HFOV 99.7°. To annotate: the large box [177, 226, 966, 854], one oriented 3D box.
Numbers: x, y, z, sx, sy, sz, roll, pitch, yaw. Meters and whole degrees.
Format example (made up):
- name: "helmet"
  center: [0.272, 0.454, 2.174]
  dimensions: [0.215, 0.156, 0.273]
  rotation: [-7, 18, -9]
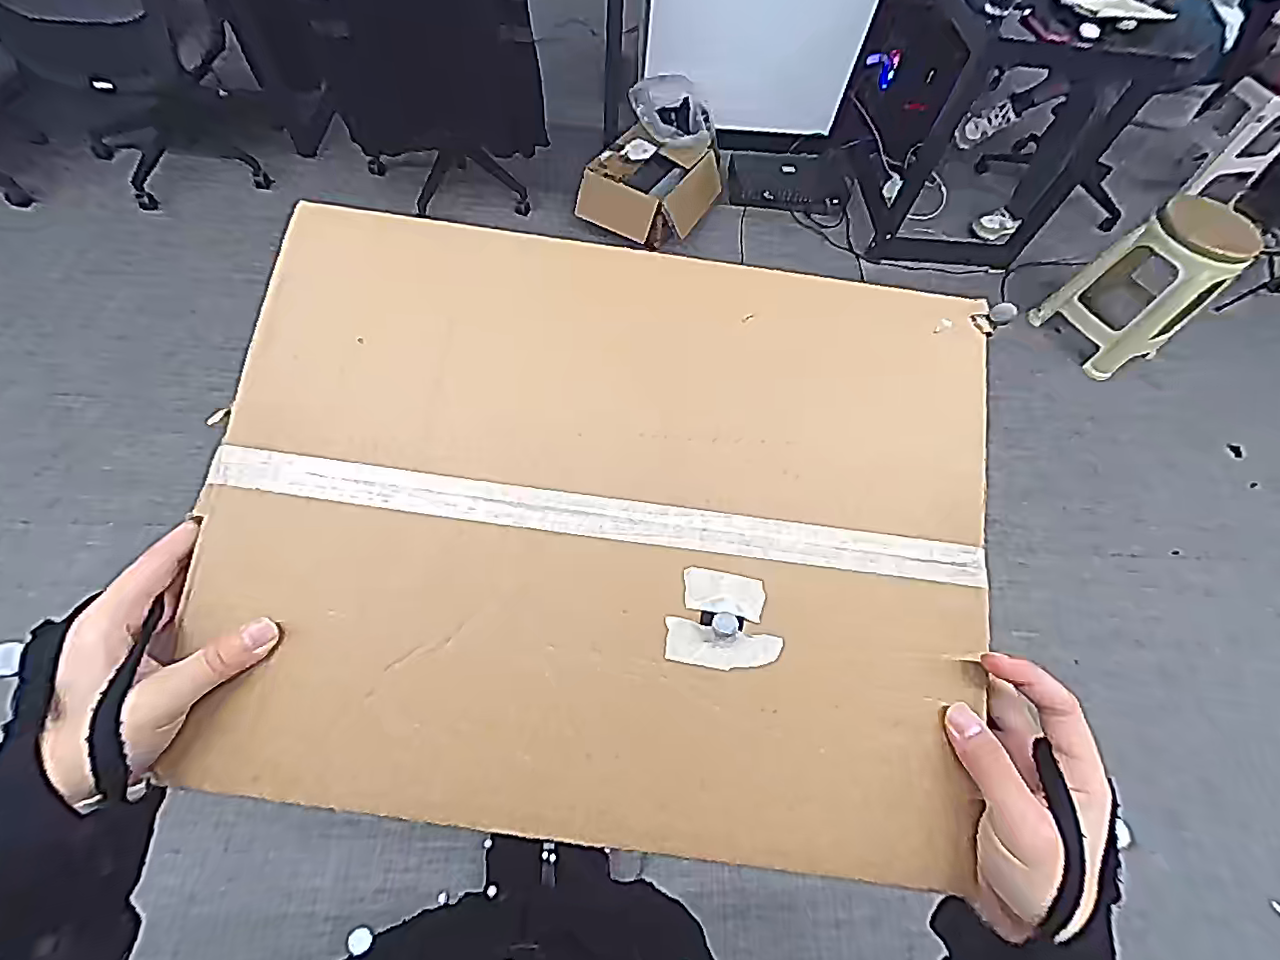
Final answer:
- name: "large box"
  center: [-0.024, 0.046, 0.446]
  dimensions: [0.408, 0.320, 0.320]
  rotation: [8, 80, -1]
